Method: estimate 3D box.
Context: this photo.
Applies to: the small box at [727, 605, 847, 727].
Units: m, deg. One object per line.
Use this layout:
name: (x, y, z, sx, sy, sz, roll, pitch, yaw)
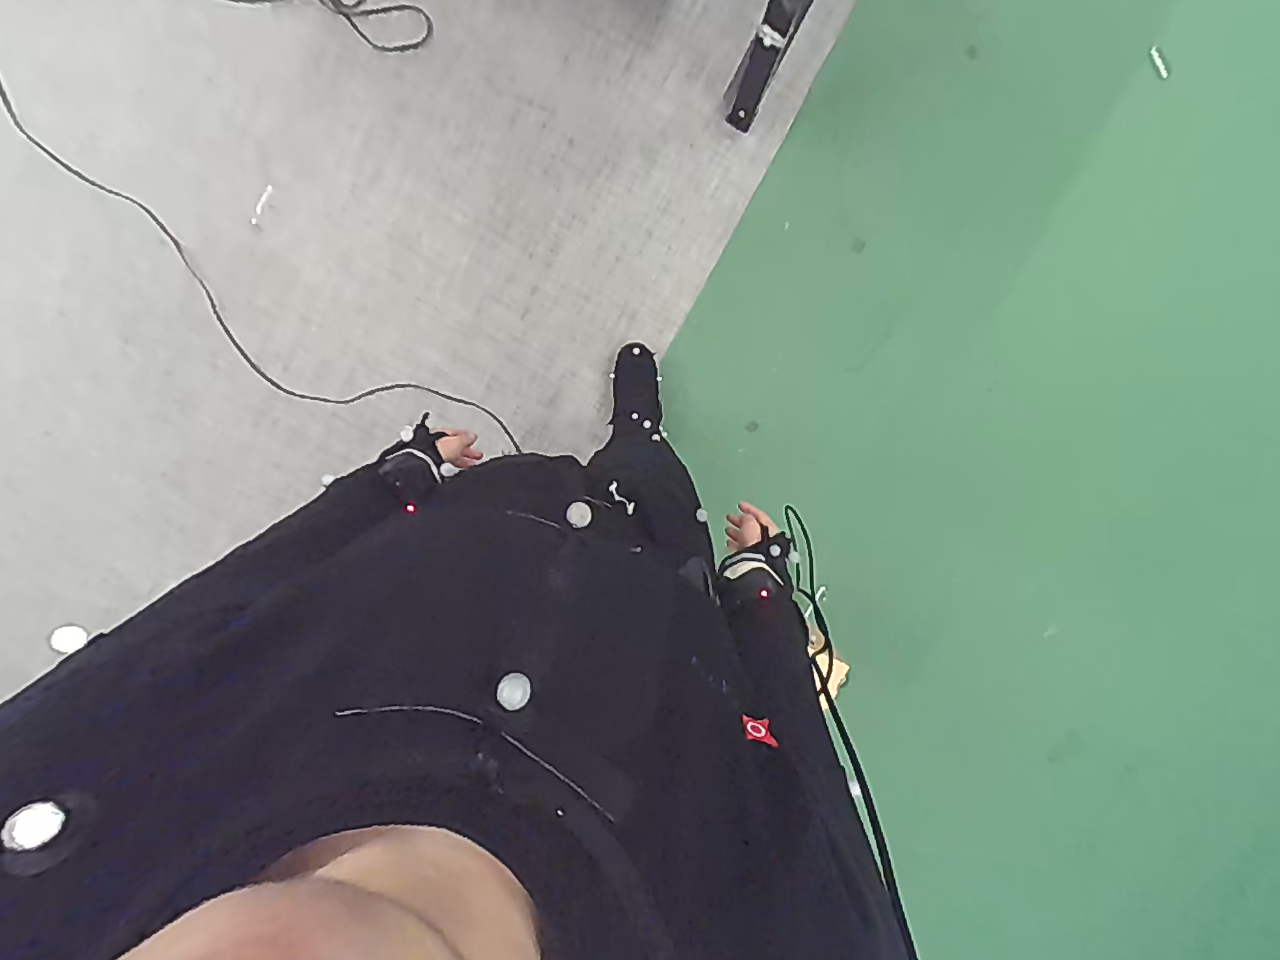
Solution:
small box: (0.308, 0.393, 1.182, 0.179, 0.176, 0.168, 25, 96, -5)
